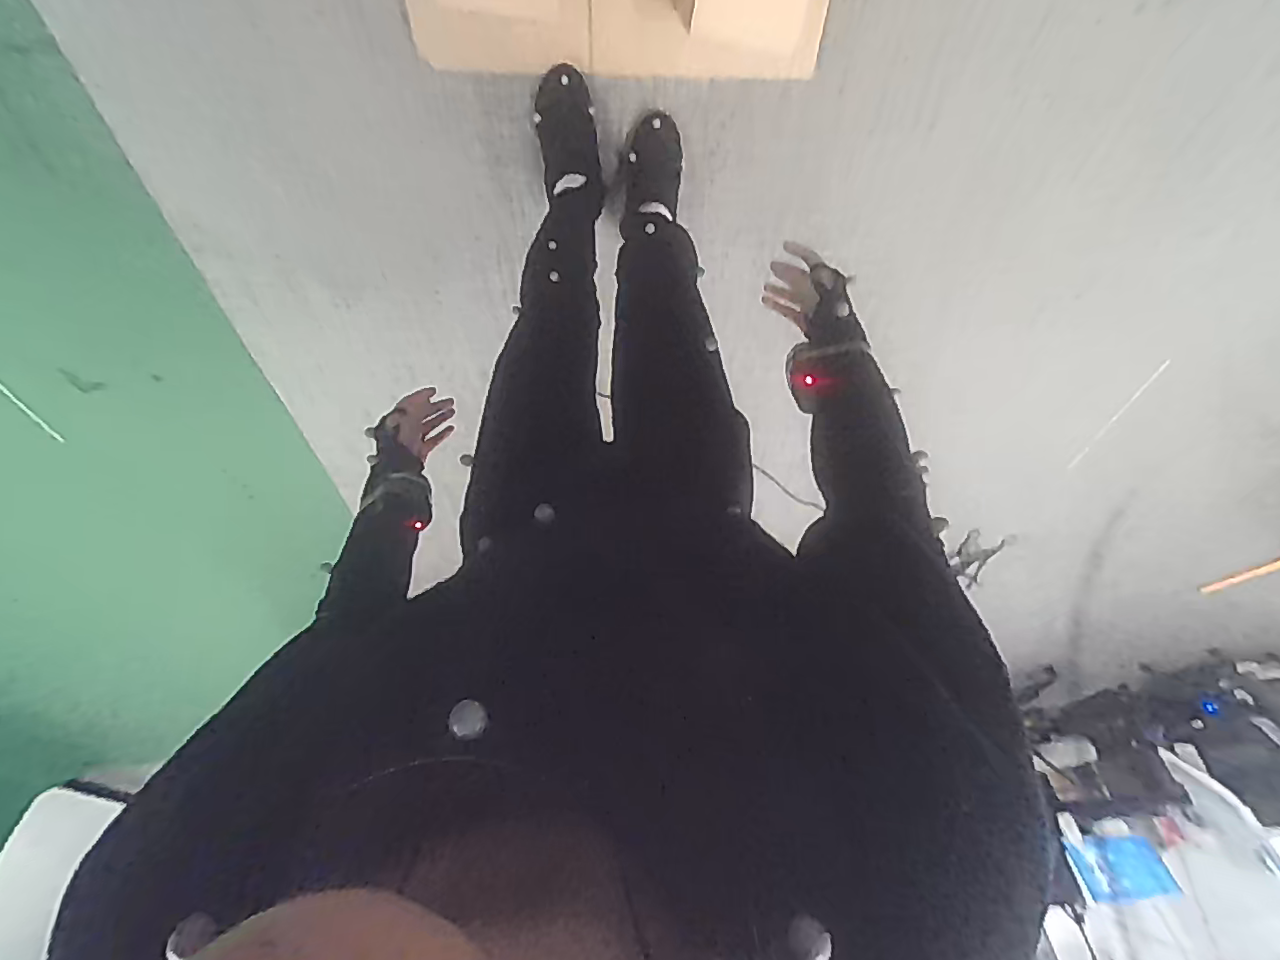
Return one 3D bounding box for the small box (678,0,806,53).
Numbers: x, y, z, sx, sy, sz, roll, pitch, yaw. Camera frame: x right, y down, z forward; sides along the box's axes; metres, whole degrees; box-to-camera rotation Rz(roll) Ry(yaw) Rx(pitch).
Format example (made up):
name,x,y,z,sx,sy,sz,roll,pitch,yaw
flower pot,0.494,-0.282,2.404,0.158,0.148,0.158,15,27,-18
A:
name,x,y,z,sx,sy,sz,roll,pitch,yaw
small box,0.156,-0.765,0.789,0.168,0.176,0.179,2,138,-11
